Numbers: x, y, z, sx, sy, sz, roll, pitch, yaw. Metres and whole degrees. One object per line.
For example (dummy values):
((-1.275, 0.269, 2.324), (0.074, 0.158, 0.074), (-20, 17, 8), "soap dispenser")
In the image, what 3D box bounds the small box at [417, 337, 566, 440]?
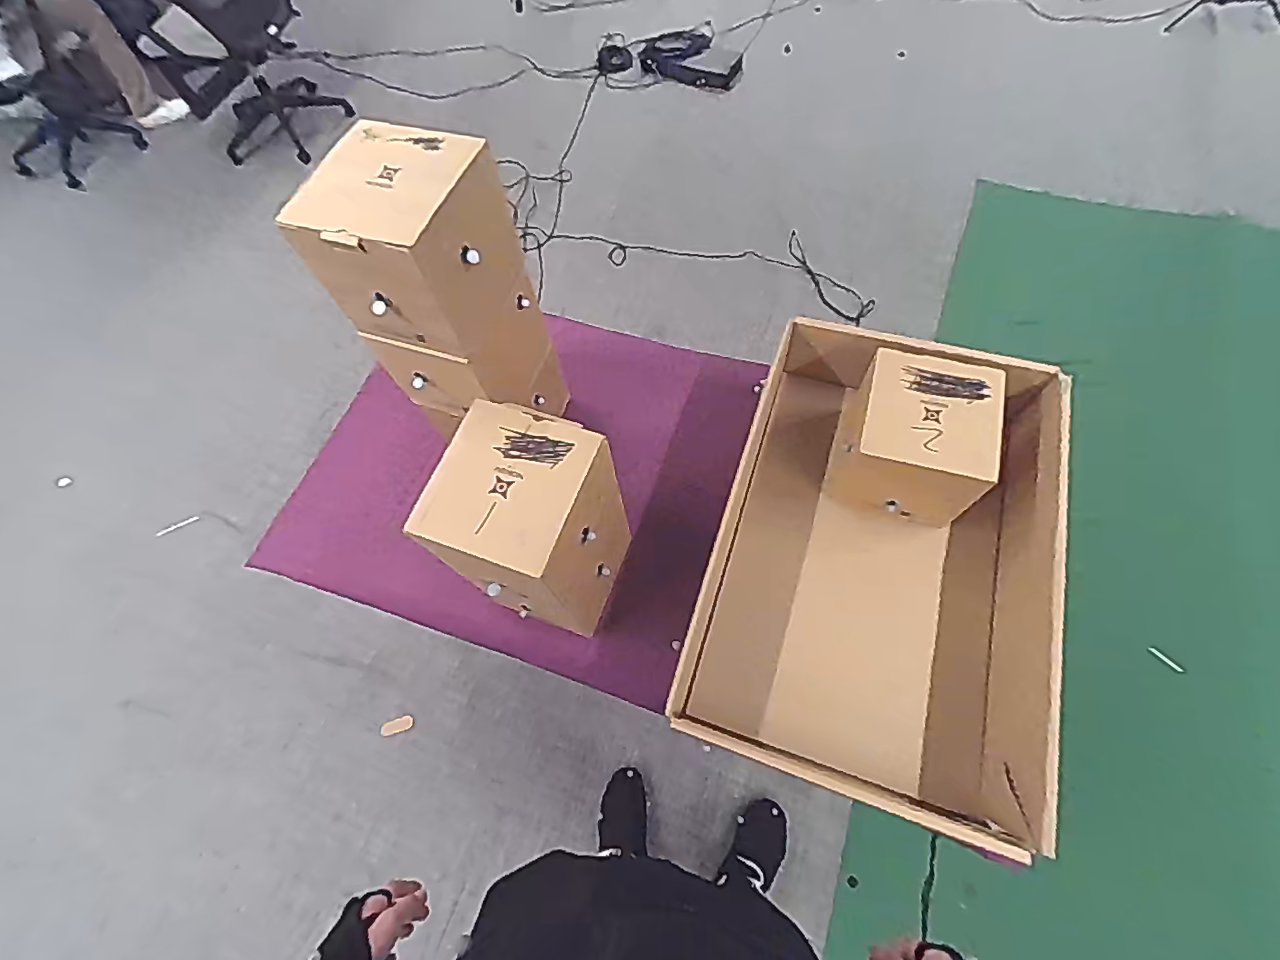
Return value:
((-0.242, -0.143, 0.935), (0.168, 0.176, 0.179), (17, 67, 11), "small box")

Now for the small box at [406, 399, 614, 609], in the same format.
((-0.139, 0.035, 0.657), (0.168, 0.176, 0.179), (17, 67, 13), "small box")

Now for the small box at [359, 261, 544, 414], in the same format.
((-0.256, -0.208, 0.787), (0.168, 0.176, 0.179), (16, 67, 11), "small box")

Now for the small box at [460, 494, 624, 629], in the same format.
((-0.129, 0.105, 0.805), (0.168, 0.176, 0.179), (18, 67, 12), "small box")

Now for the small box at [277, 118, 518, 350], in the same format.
((-0.264, -0.282, 0.640), (0.168, 0.176, 0.179), (16, 68, 10), "small box")
